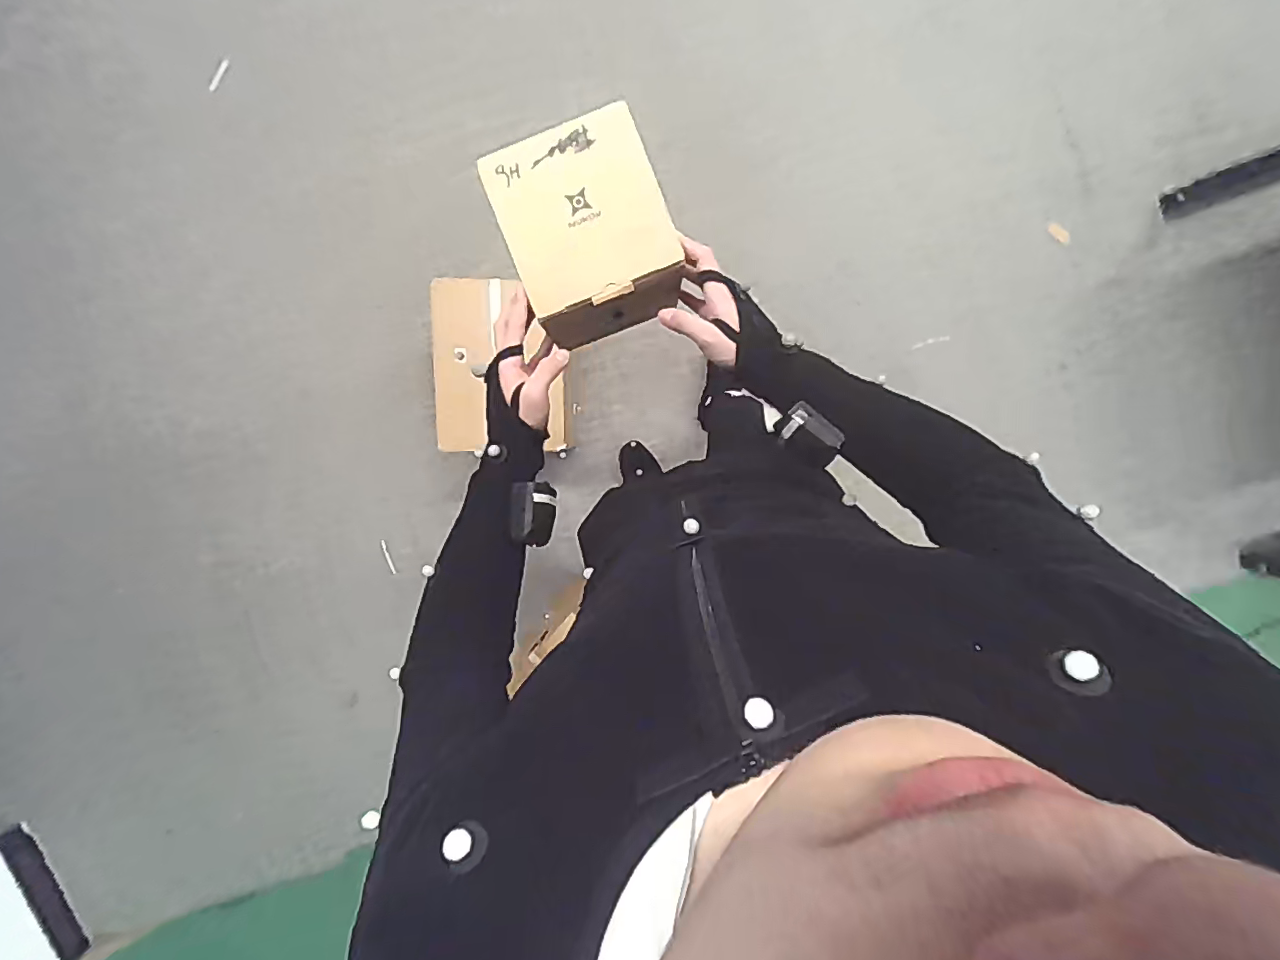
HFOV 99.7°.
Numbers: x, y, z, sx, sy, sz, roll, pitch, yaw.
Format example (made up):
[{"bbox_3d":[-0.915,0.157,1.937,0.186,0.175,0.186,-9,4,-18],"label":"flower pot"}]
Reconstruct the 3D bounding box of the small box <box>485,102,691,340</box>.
[{"bbox_3d":[-0.050,-0.274,0.623,0.168,0.176,0.179,-21,93,1],"label":"small box"}]

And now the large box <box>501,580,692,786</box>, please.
[{"bbox_3d":[-0.119,0.554,1.543,0.408,0.320,0.320,39,95,-6],"label":"large box"}]
